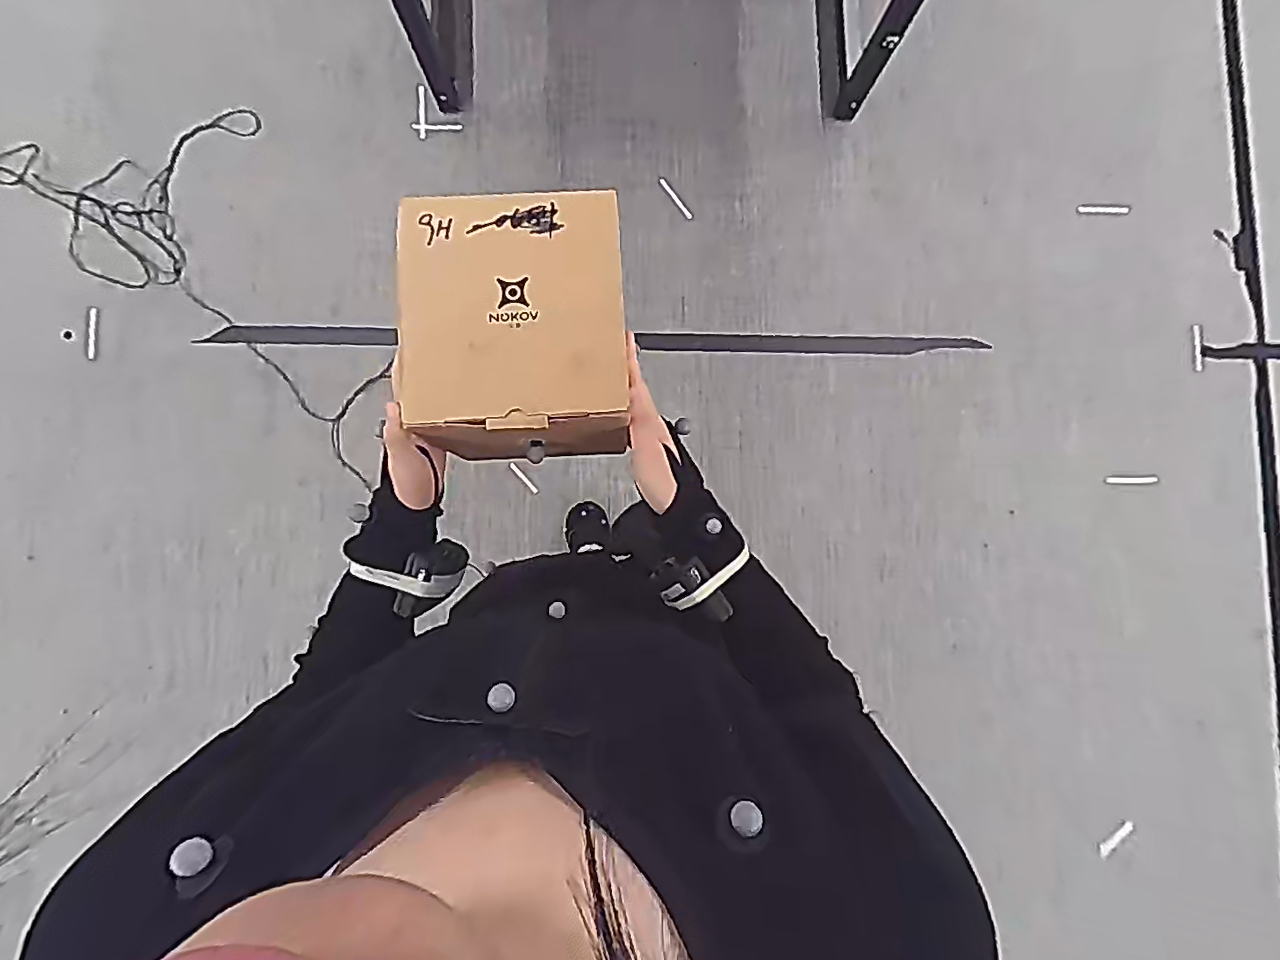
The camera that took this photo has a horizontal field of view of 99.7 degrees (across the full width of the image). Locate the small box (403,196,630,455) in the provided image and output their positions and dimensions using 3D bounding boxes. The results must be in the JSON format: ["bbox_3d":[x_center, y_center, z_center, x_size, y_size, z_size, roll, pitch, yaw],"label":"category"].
[{"bbox_3d":[-0.093,-0.118,0.479,0.168,0.176,0.179,-3,84,-2],"label":"small box"}]
